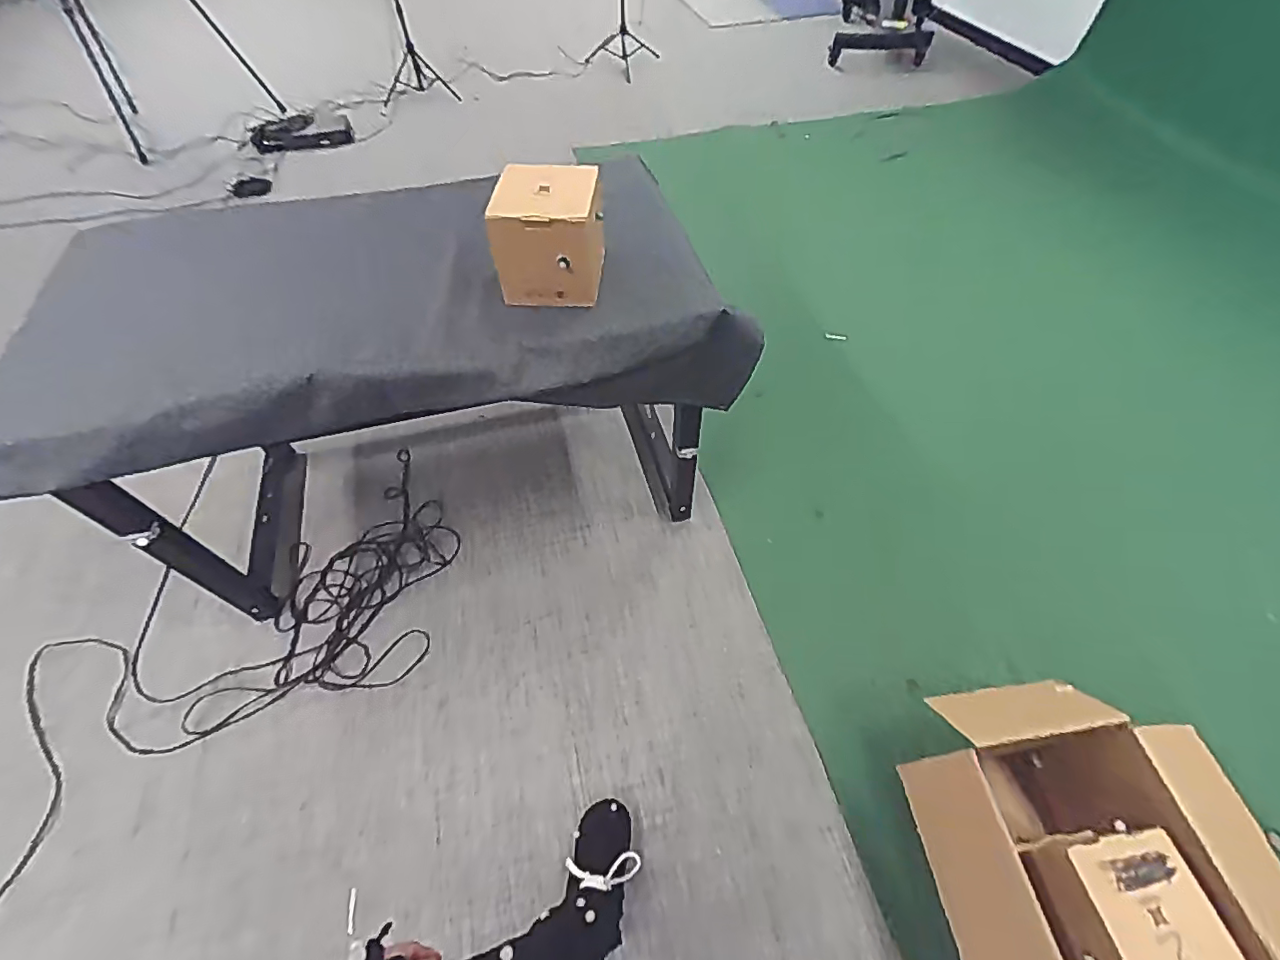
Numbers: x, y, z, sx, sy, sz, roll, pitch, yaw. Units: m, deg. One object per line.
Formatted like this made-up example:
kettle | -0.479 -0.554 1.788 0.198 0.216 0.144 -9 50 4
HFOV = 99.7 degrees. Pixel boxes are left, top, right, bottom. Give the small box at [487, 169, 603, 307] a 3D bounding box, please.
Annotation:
small box | -0.156 -0.426 0.960 0.168 0.176 0.179 3 53 2
